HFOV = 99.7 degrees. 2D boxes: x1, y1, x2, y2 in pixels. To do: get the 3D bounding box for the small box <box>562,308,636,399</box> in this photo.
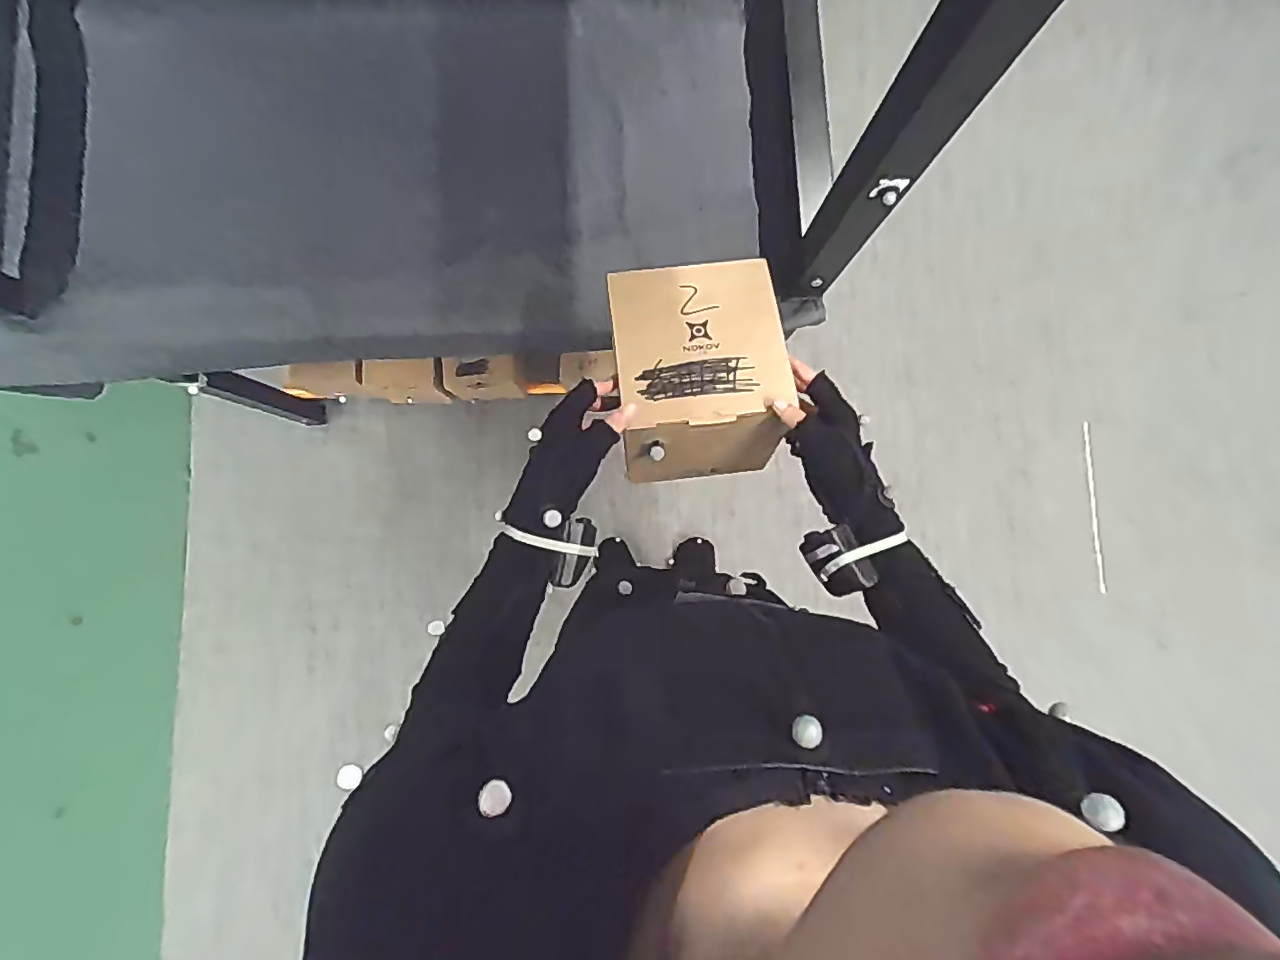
[{"bbox_3d":[-0.099,-0.310,1.354,0.168,0.176,0.179,3,87,0],"label":"small box"}]
